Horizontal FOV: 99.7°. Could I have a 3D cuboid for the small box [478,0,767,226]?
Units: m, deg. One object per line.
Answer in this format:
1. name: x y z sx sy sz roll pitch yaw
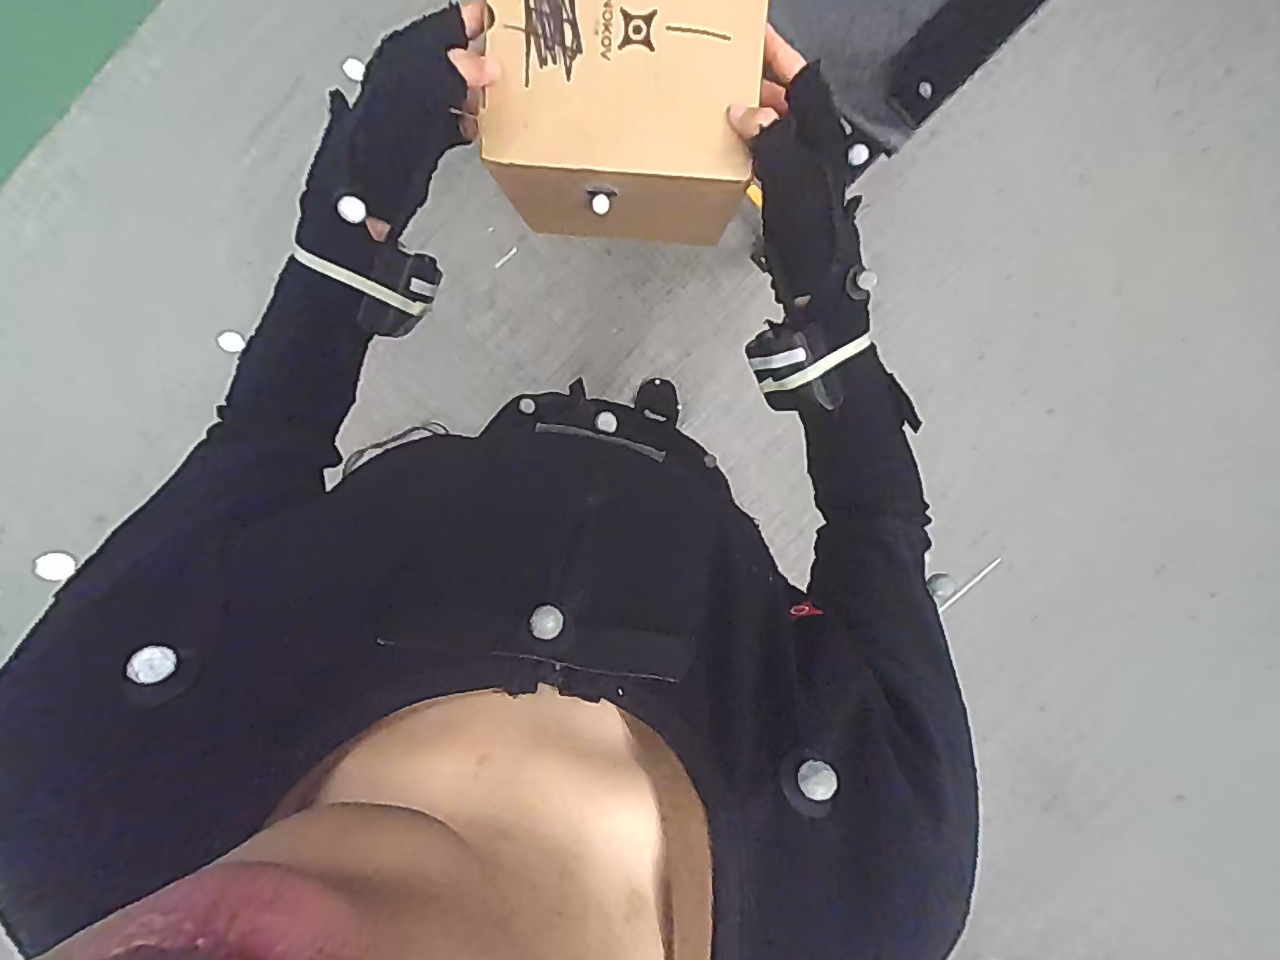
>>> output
1. small box: -0.010 -0.302 0.406 0.179 0.176 0.168 3 101 -1
